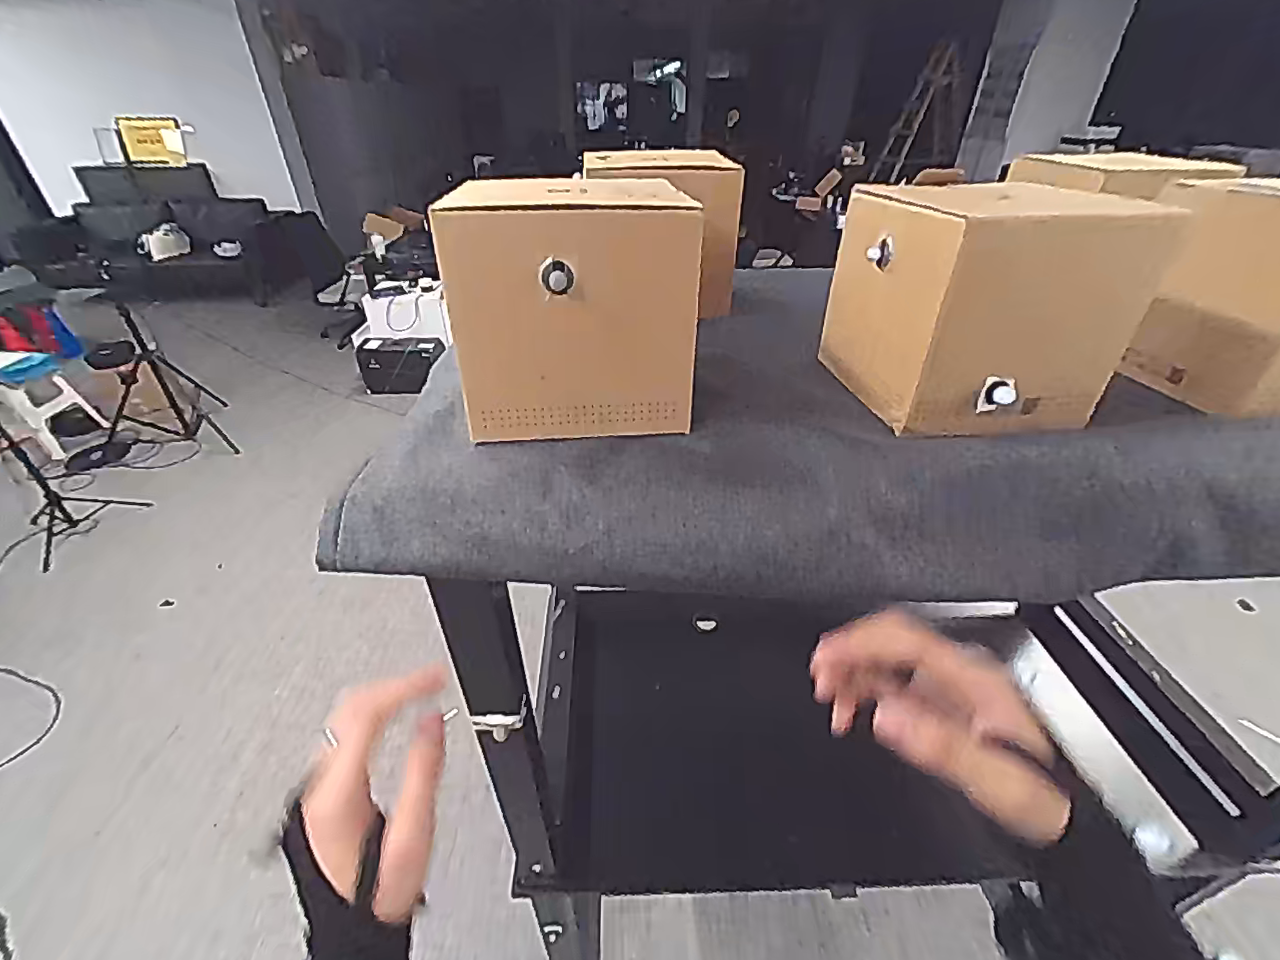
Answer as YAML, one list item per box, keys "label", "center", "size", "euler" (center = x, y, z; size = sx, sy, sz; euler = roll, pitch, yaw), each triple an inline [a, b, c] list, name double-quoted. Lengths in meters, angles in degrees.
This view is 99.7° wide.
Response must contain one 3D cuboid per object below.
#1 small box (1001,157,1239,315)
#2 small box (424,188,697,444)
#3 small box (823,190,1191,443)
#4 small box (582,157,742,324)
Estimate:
- label: "small box"
  center: [0.593, -0.323, 0.720]
  size: [0.168, 0.176, 0.179]
  euler: [-2, 35, -3]
- label: "small box"
  center: [-0.056, -0.139, 0.448]
  size: [0.179, 0.176, 0.168]
  euler: [-3, 34, -6]
- label: "small box"
  center: [0.276, -0.146, 0.463]
  size: [0.168, 0.176, 0.179]
  euler: [-4, 34, -5]
- label: "small box"
  center: [0.017, -0.304, 0.688]
  size: [0.179, 0.176, 0.168]
  euler: [-2, 35, -4]
